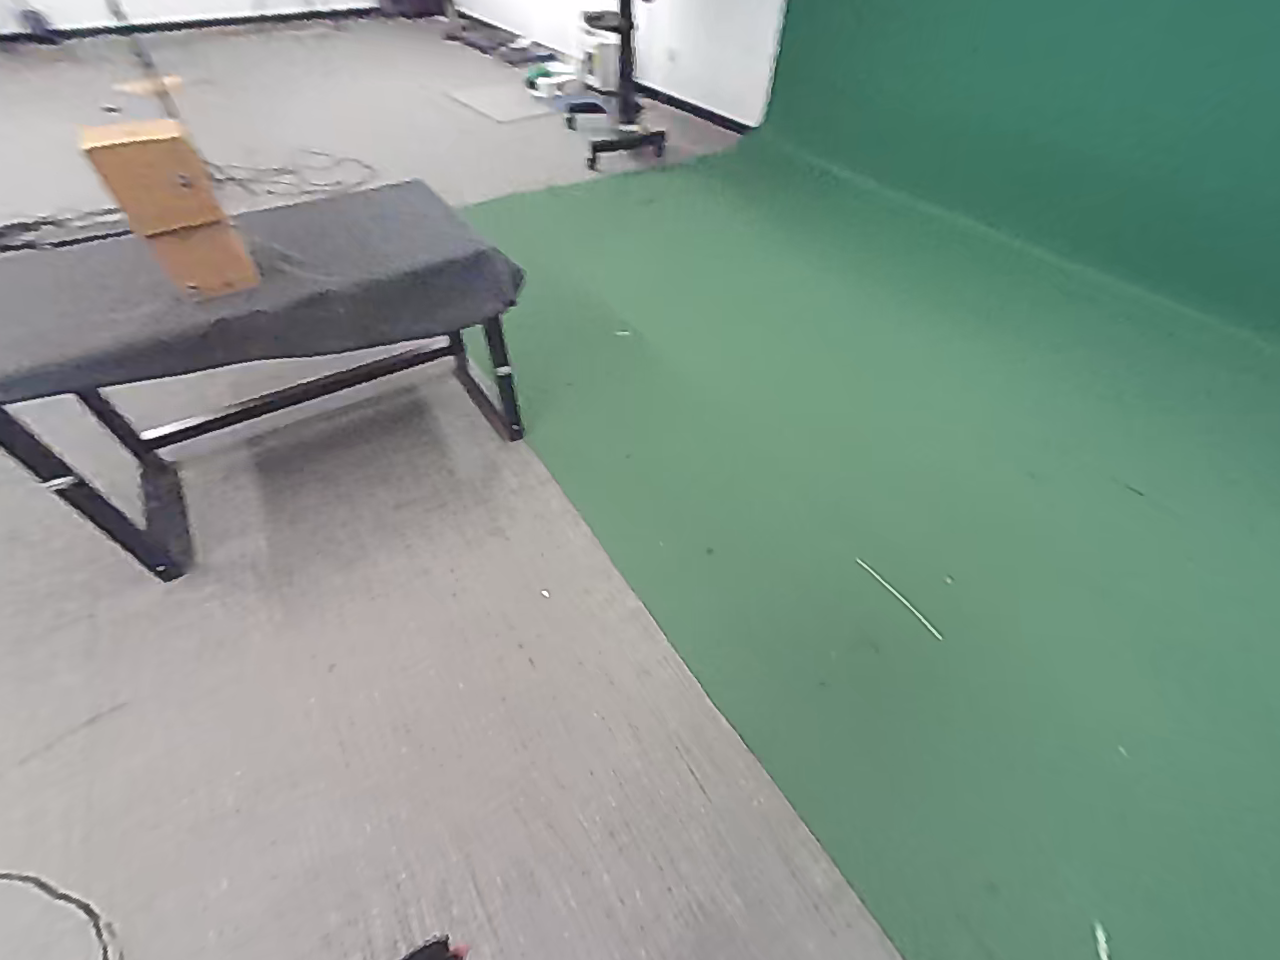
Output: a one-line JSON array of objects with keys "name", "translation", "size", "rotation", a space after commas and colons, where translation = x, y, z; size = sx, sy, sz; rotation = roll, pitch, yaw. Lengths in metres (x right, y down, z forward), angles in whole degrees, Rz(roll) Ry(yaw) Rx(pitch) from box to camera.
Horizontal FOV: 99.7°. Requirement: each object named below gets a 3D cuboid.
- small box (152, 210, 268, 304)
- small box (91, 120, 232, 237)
[{"name": "small box", "translation": [-1.040, -0.547, 1.316], "size": [0.168, 0.176, 0.179], "rotation": [-24, 51, -22]}, {"name": "small box", "translation": [-1.026, -0.656, 1.175], "size": [0.179, 0.176, 0.168], "rotation": [-29, 53, -26]}]
